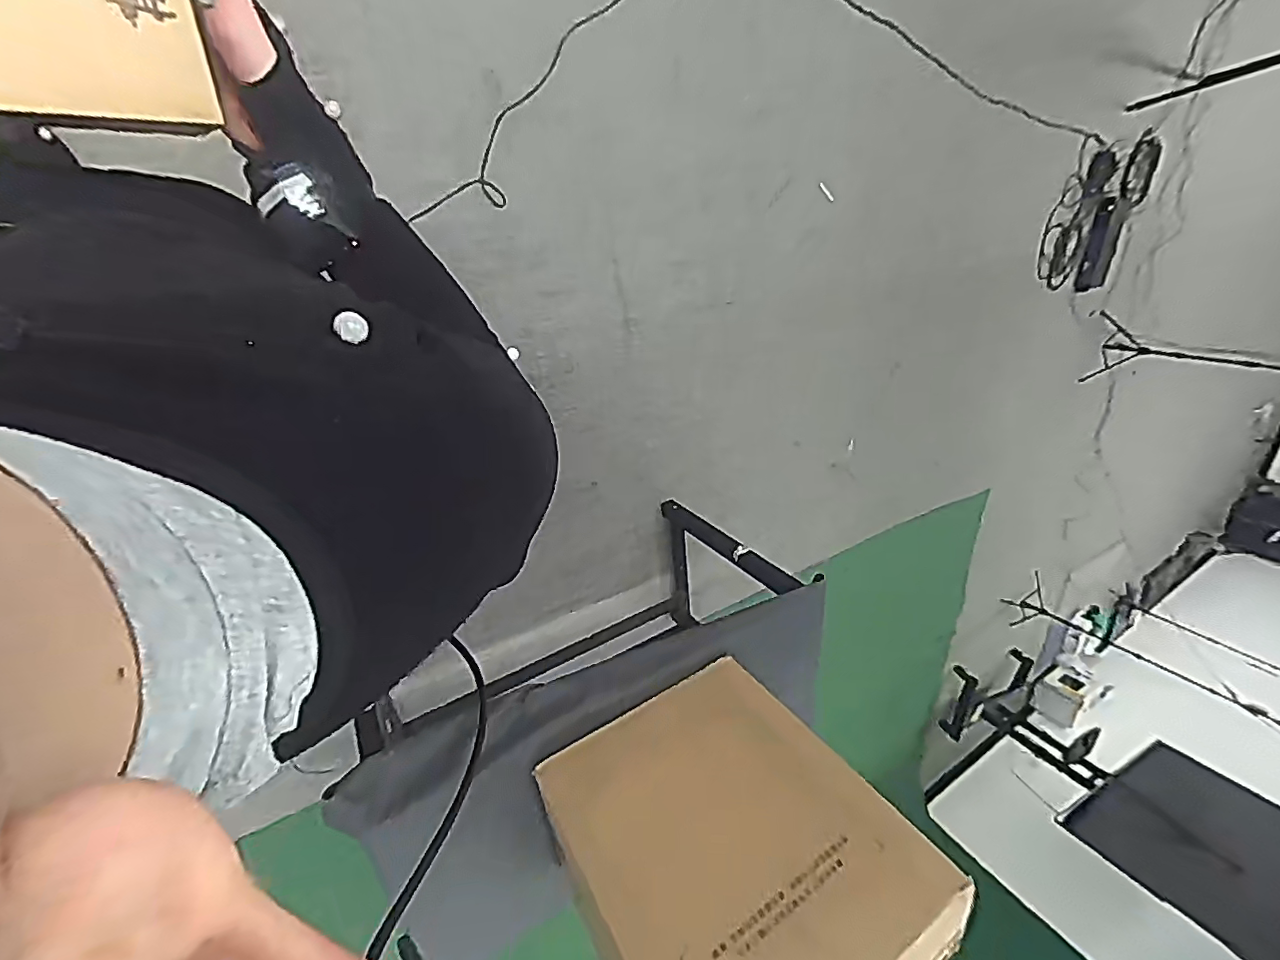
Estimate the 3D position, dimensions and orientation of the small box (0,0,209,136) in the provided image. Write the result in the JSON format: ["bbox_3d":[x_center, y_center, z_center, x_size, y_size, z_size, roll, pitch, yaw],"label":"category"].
[{"bbox_3d":[-0.361,-0.285,0.283,0.179,0.176,0.168,-19,126,-34],"label":"small box"}]
